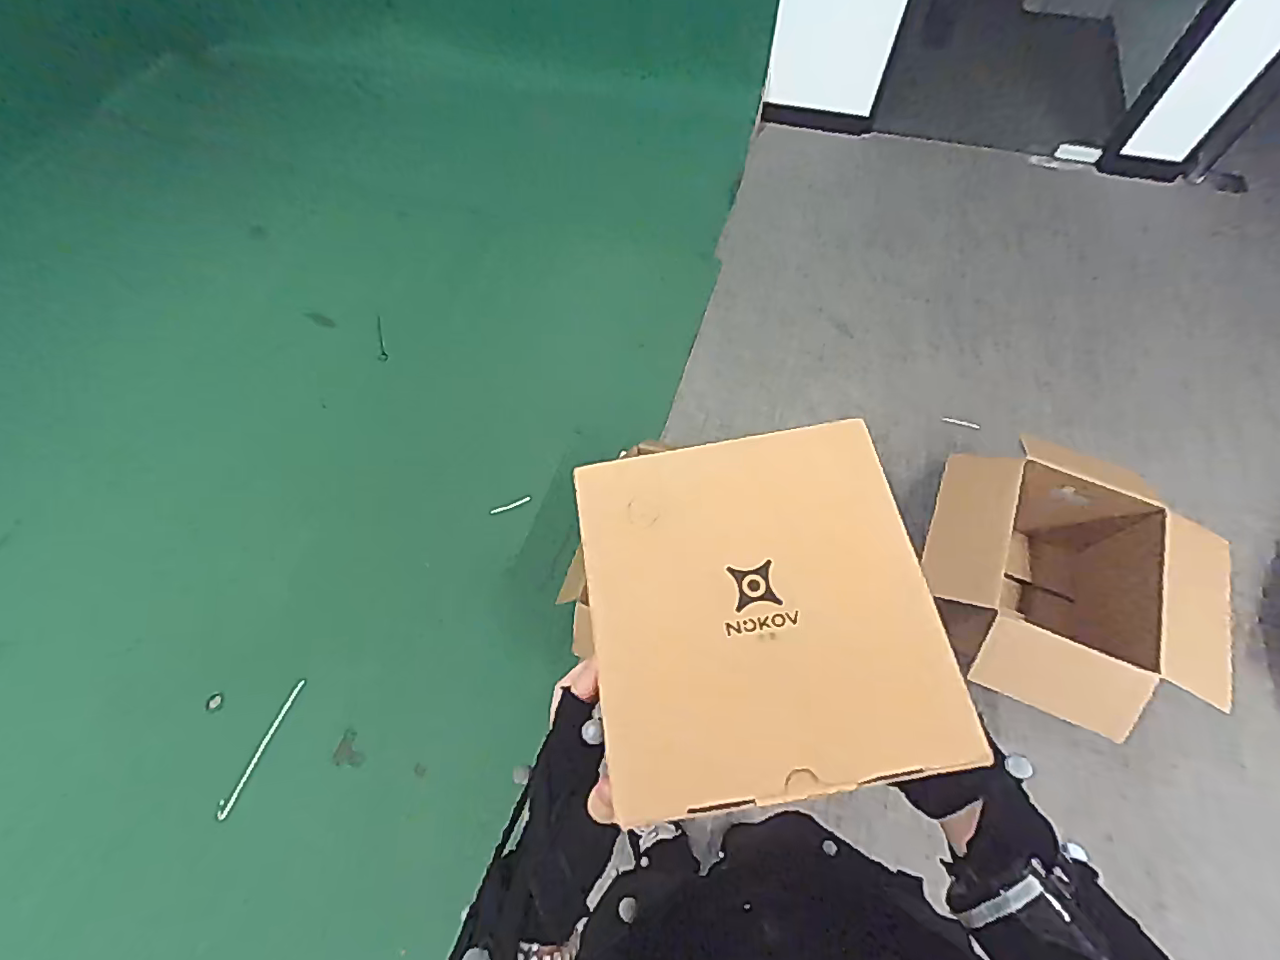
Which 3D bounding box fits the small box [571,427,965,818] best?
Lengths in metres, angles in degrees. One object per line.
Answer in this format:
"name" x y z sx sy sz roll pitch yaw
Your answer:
"small box" 0.057 0.092 0.346 0.168 0.176 0.179 -10 66 0
